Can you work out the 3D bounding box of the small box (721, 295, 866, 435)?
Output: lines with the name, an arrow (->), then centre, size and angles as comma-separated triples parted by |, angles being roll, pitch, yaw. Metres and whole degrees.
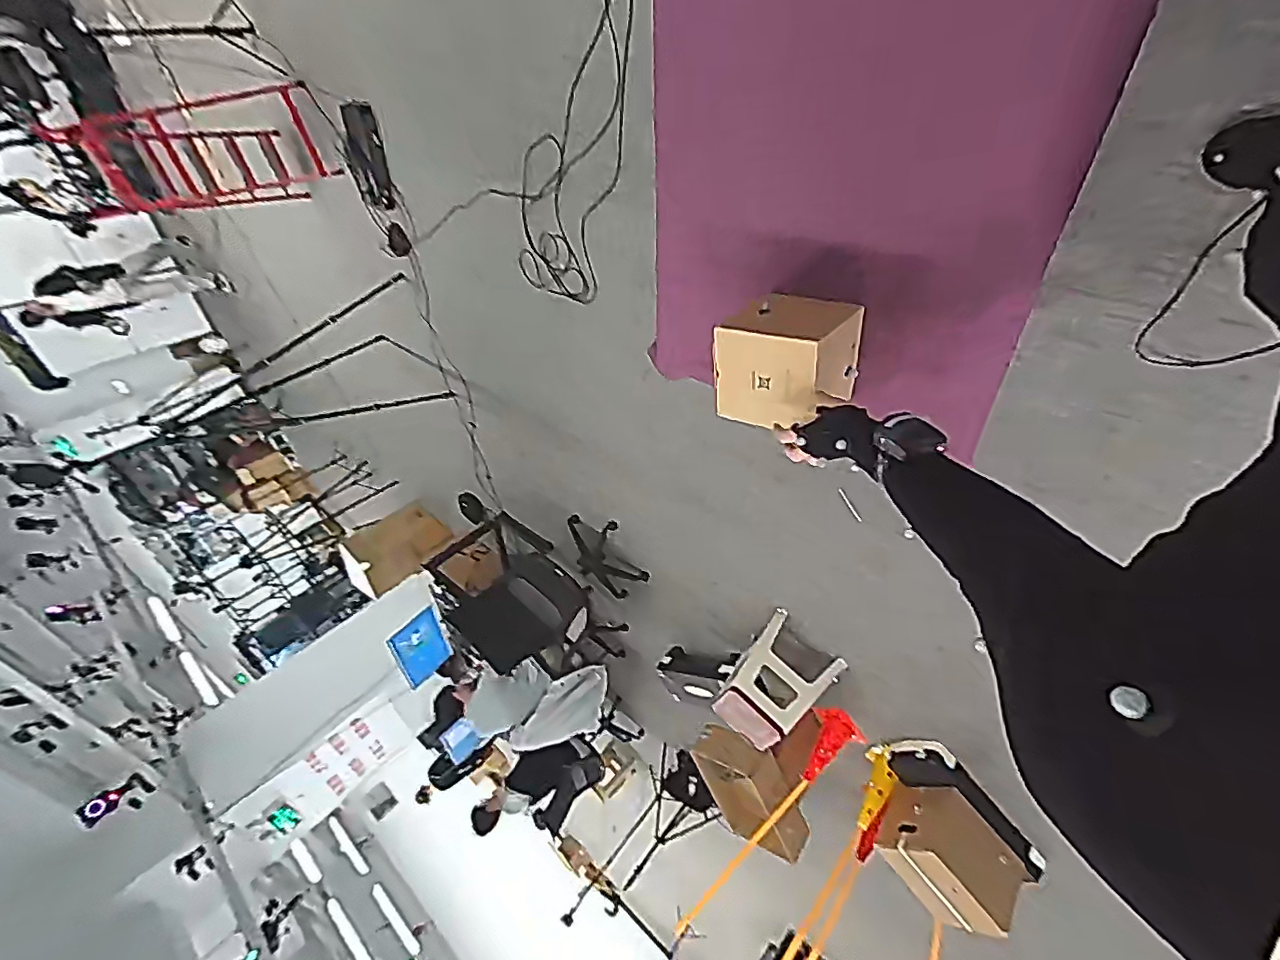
small box -> 0.257, -0.205, 0.925 | 0.179, 0.176, 0.168 | 23, 137, 36
